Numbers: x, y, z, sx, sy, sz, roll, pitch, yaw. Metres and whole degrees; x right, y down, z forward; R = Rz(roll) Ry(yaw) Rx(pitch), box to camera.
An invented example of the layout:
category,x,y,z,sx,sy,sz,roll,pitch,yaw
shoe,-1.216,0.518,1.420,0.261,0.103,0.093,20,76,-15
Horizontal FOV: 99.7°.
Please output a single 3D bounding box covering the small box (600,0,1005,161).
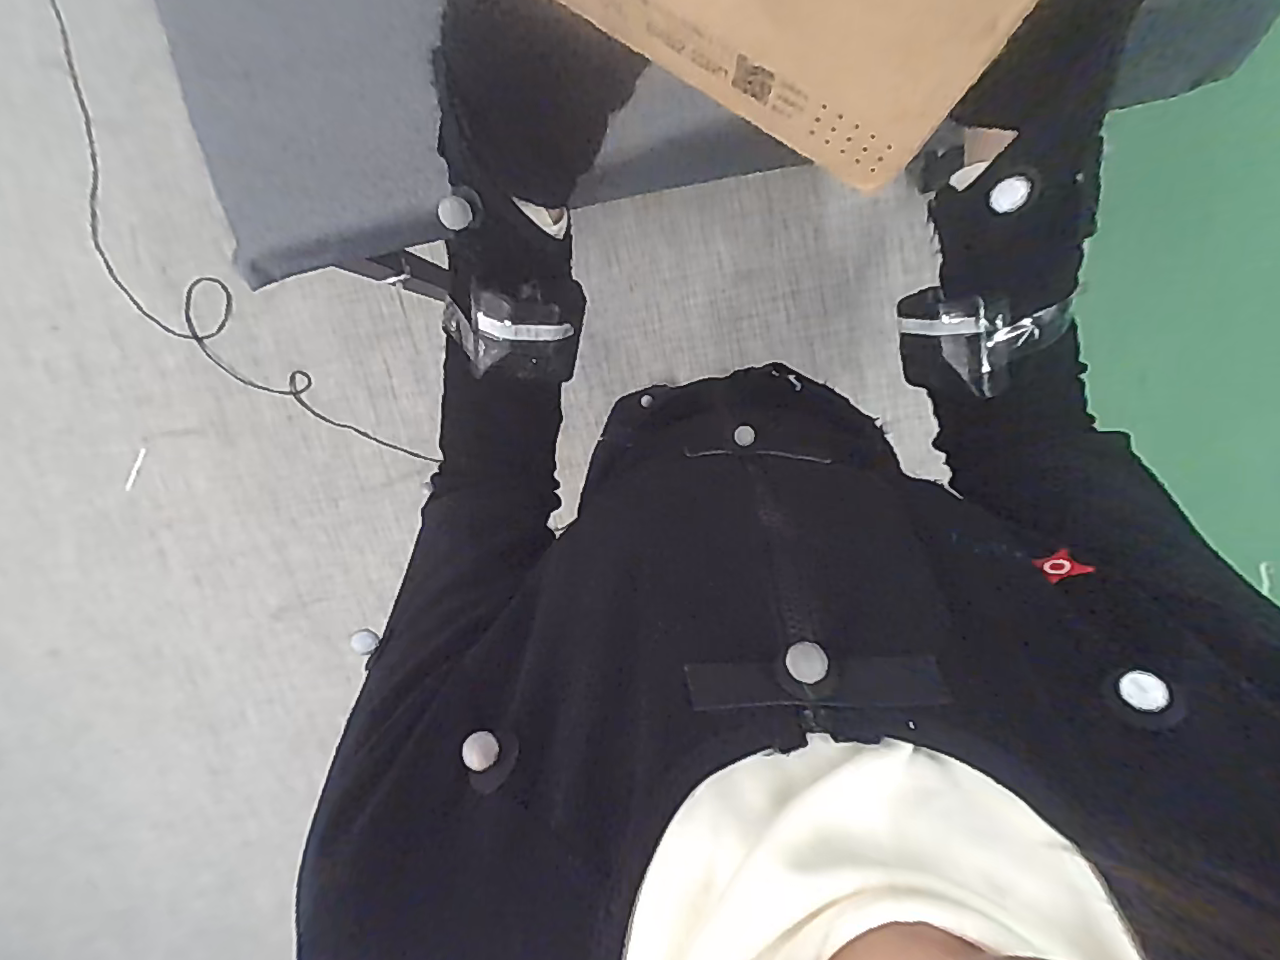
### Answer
category,x,y,z,sx,sy,sz,roll,pitch,yaw
small box,0.064,-0.229,0.132,0.168,0.176,0.179,32,90,1
